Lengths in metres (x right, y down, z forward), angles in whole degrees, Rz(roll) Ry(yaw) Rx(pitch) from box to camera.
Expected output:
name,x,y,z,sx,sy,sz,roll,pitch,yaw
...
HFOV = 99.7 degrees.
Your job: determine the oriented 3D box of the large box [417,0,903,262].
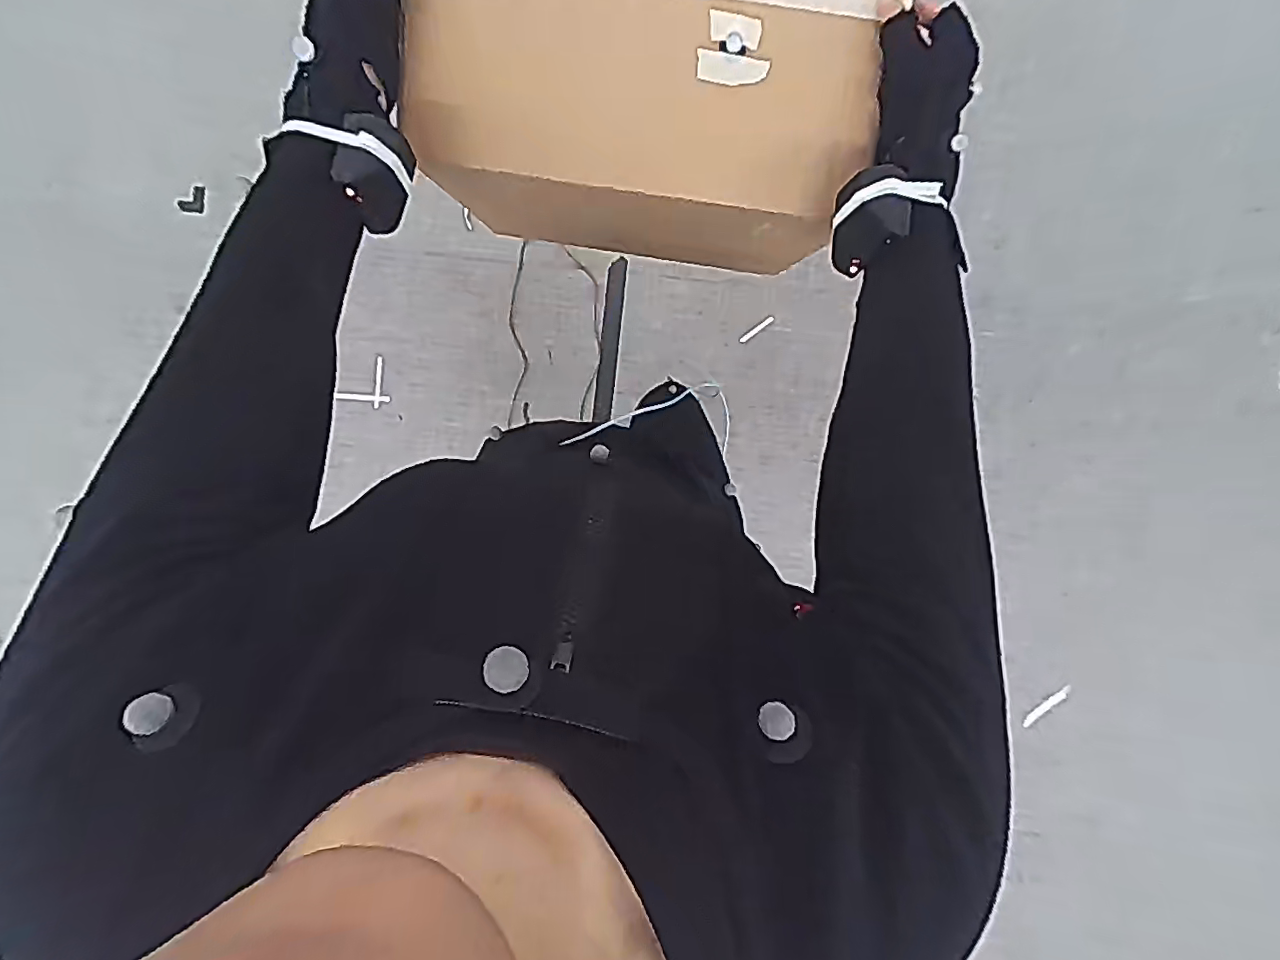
name,x,y,z,sx,sy,sz,roll,pitch,yaw
large box,0.017,-0.444,0.585,0.408,0.320,0.320,7,104,-2
